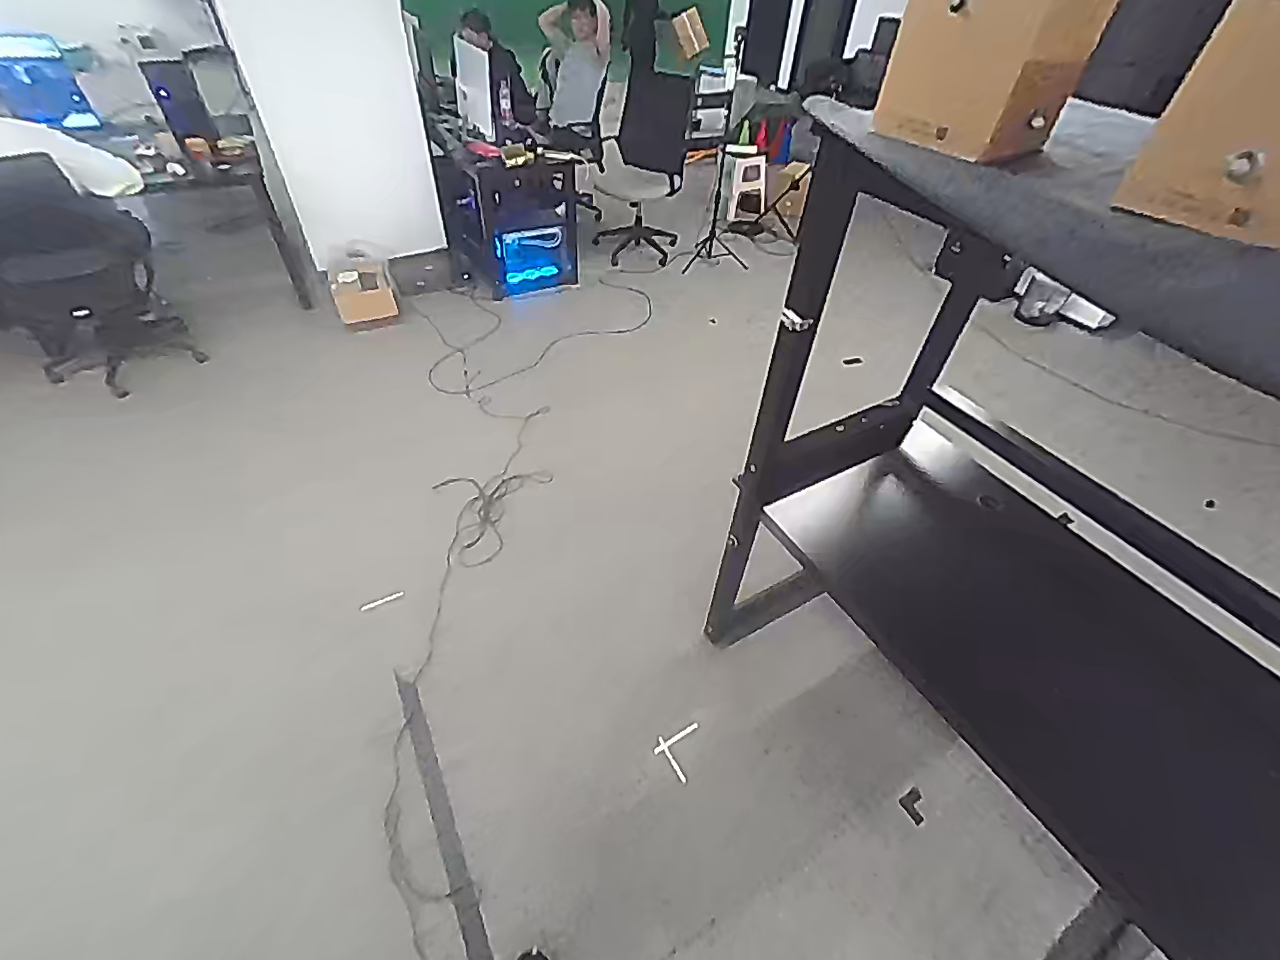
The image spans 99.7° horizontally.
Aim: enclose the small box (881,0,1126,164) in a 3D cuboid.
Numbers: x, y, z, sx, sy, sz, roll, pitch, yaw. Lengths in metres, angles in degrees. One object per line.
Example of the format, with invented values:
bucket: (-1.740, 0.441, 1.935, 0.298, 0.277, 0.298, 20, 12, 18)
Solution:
small box: (0.436, -0.516, 0.671, 0.179, 0.176, 0.168, -27, 53, -27)
